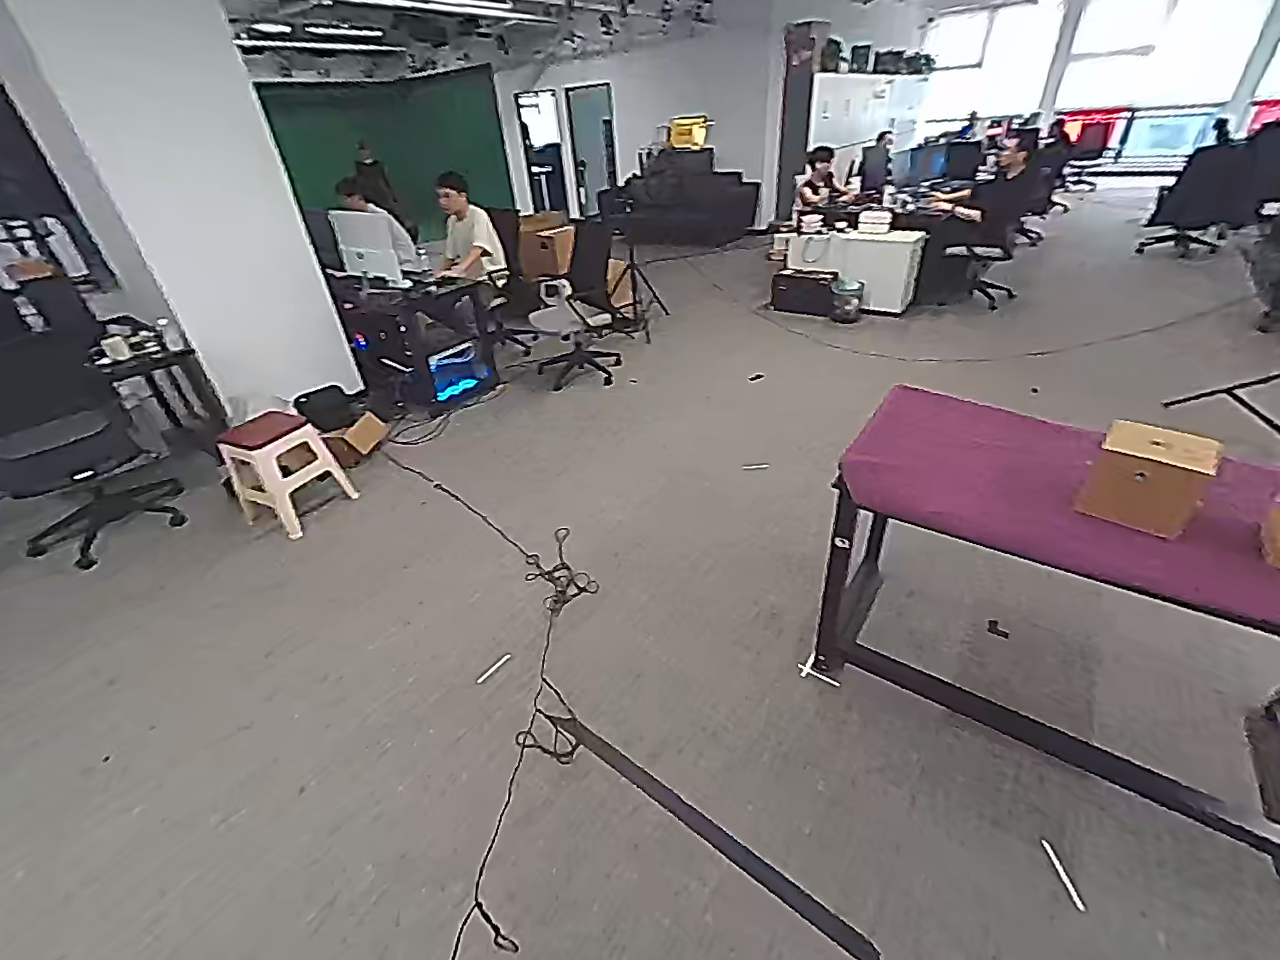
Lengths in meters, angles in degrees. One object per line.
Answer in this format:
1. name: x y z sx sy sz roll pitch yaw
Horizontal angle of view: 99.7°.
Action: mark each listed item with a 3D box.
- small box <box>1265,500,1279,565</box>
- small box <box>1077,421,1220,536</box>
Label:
1. small box: 1.328 0.087 1.009 0.179 0.176 0.168 22 40 35
2. small box: 1.097 -0.005 1.177 0.179 0.176 0.168 26 44 38
